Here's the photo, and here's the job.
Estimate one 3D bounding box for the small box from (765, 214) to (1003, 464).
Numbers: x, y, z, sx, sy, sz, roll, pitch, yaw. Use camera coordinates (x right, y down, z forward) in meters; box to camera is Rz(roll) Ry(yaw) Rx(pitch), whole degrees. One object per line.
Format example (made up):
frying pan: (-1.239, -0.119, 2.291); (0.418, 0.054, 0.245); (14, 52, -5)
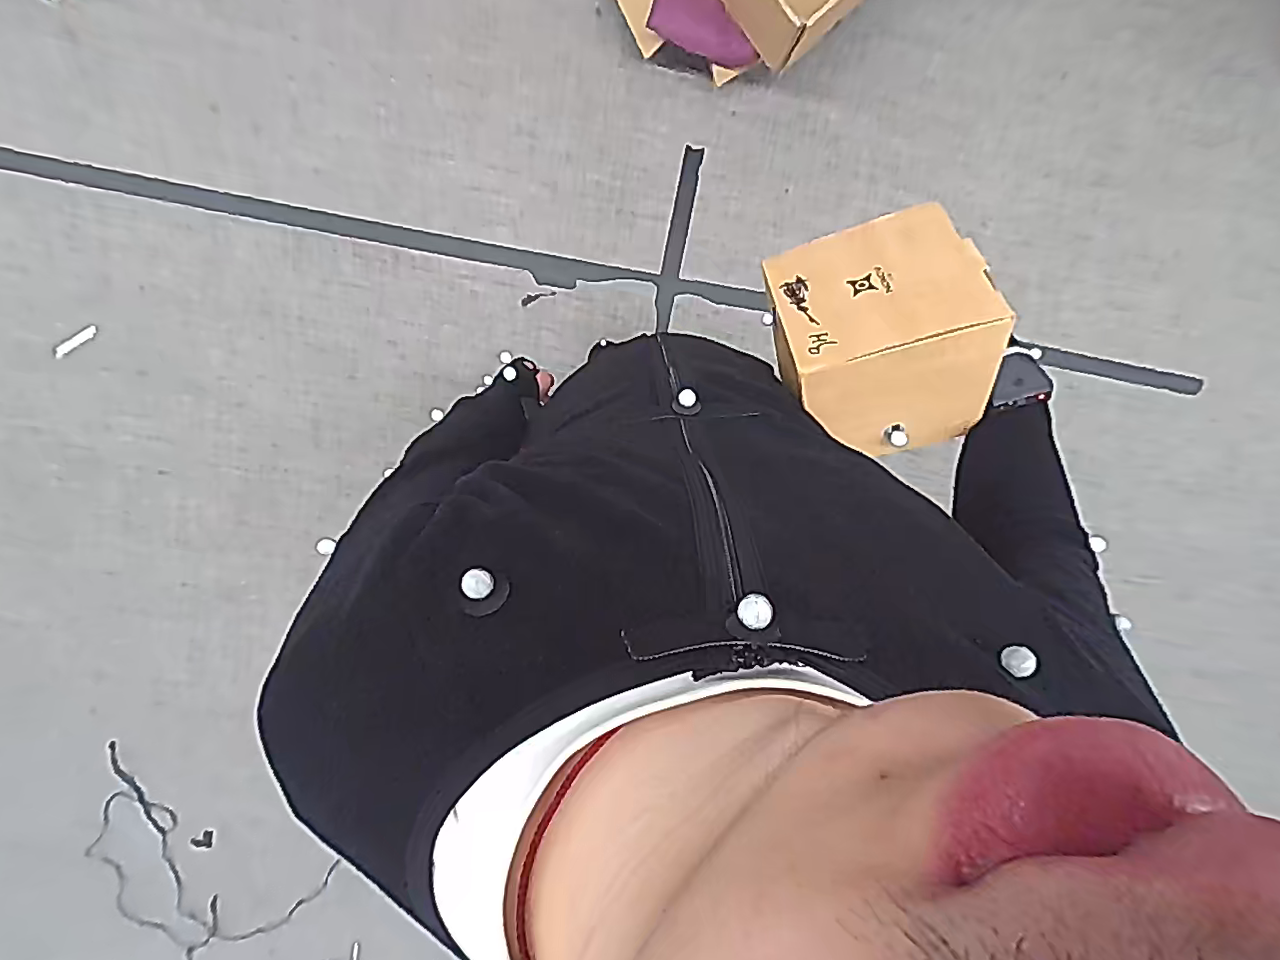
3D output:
small box: (0.244, -0.141, 0.583); (0.179, 0.168, 0.176); (-14, 145, 12)
